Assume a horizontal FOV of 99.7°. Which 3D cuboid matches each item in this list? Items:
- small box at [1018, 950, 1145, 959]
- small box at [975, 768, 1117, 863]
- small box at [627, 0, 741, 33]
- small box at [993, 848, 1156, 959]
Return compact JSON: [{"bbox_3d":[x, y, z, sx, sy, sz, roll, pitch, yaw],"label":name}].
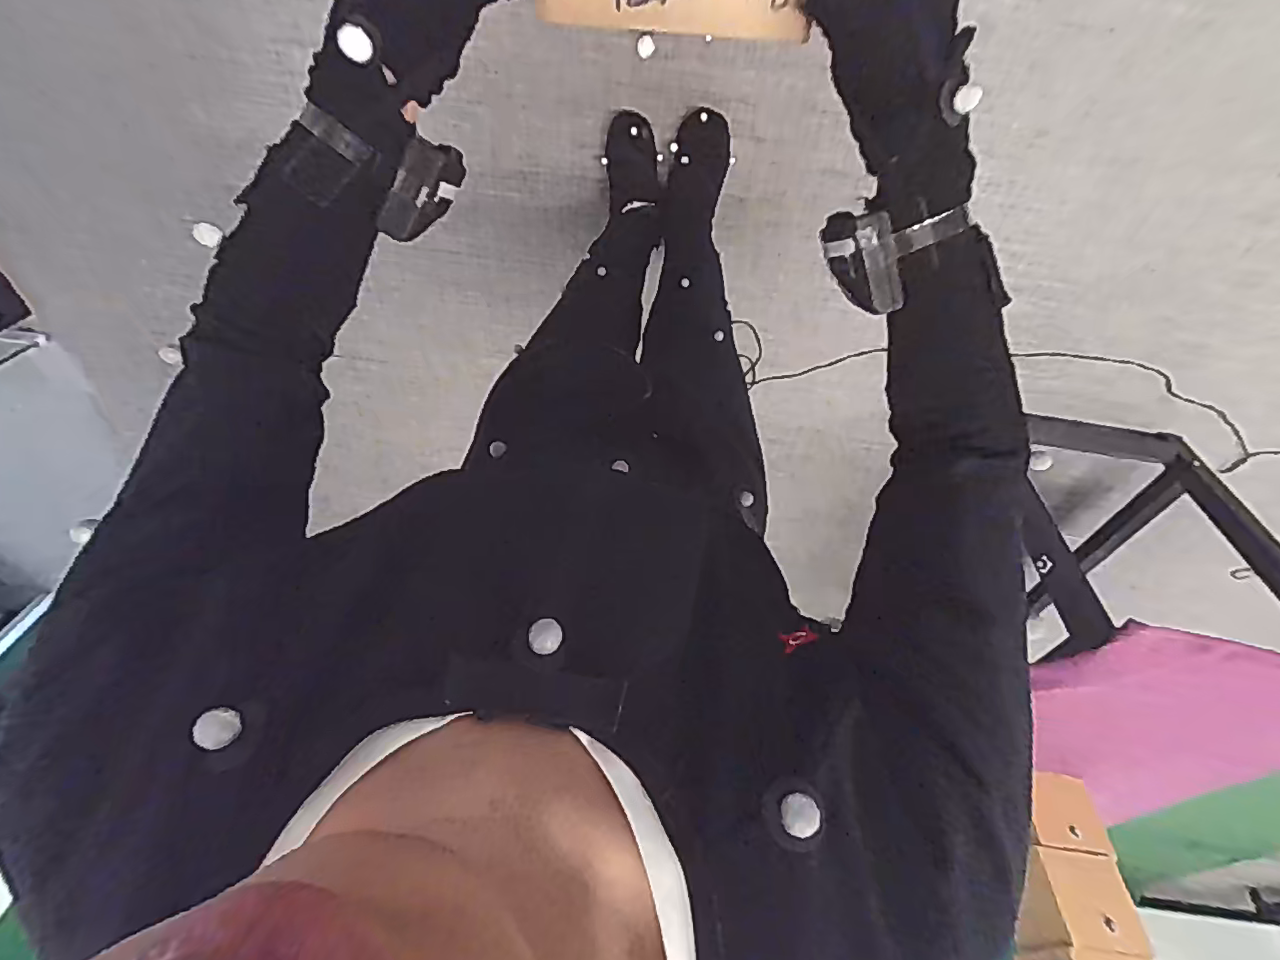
[{"bbox_3d":[0.877,1.017,1.031,0.179,0.176,0.168,11,134,-3],"label":"small box"},{"bbox_3d":[0.936,0.796,1.267,0.179,0.176,0.168,12,134,-3],"label":"small box"},{"bbox_3d":[0.082,-0.824,0.847,0.179,0.176,0.168,8,135,1],"label":"small box"},{"bbox_3d":[0.904,0.903,1.146,0.179,0.176,0.168,11,133,-2],"label":"small box"}]
